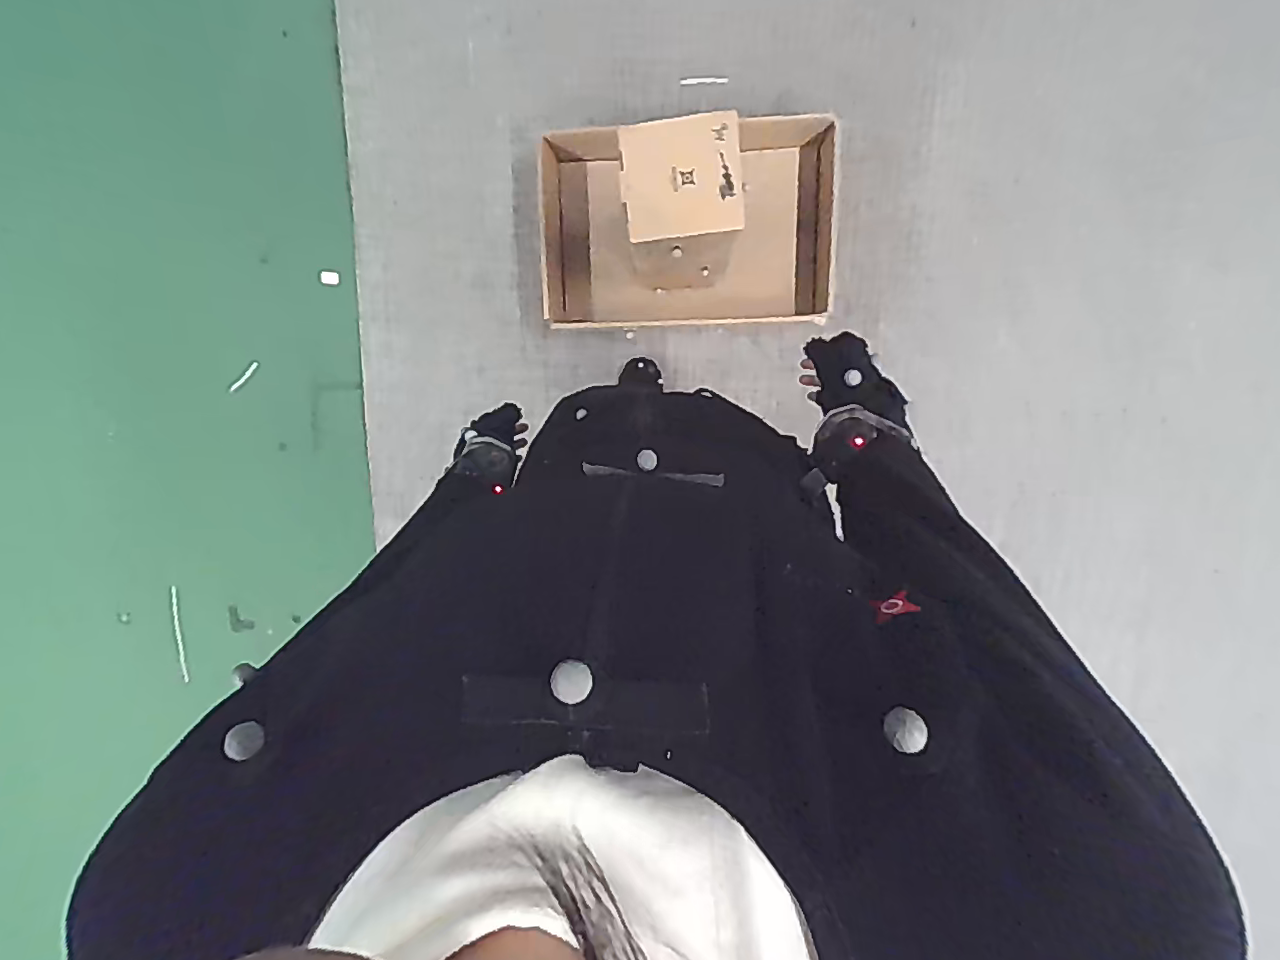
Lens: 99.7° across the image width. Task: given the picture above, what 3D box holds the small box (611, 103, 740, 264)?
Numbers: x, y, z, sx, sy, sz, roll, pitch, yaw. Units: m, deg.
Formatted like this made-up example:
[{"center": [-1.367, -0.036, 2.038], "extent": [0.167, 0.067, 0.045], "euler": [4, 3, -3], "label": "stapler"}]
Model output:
[{"center": [0.059, -0.466, 0.880], "extent": [0.179, 0.176, 0.168], "euler": [-8, 97, 5], "label": "small box"}]

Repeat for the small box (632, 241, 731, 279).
[{"center": [0.068, -0.489, 1.023], "extent": [0.179, 0.176, 0.168], "euler": [-7, 99, 5], "label": "small box"}]

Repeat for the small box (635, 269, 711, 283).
[{"center": [0.076, -0.538, 1.195], "extent": [0.168, 0.176, 0.179], "euler": [-1, 100, 5], "label": "small box"}]
